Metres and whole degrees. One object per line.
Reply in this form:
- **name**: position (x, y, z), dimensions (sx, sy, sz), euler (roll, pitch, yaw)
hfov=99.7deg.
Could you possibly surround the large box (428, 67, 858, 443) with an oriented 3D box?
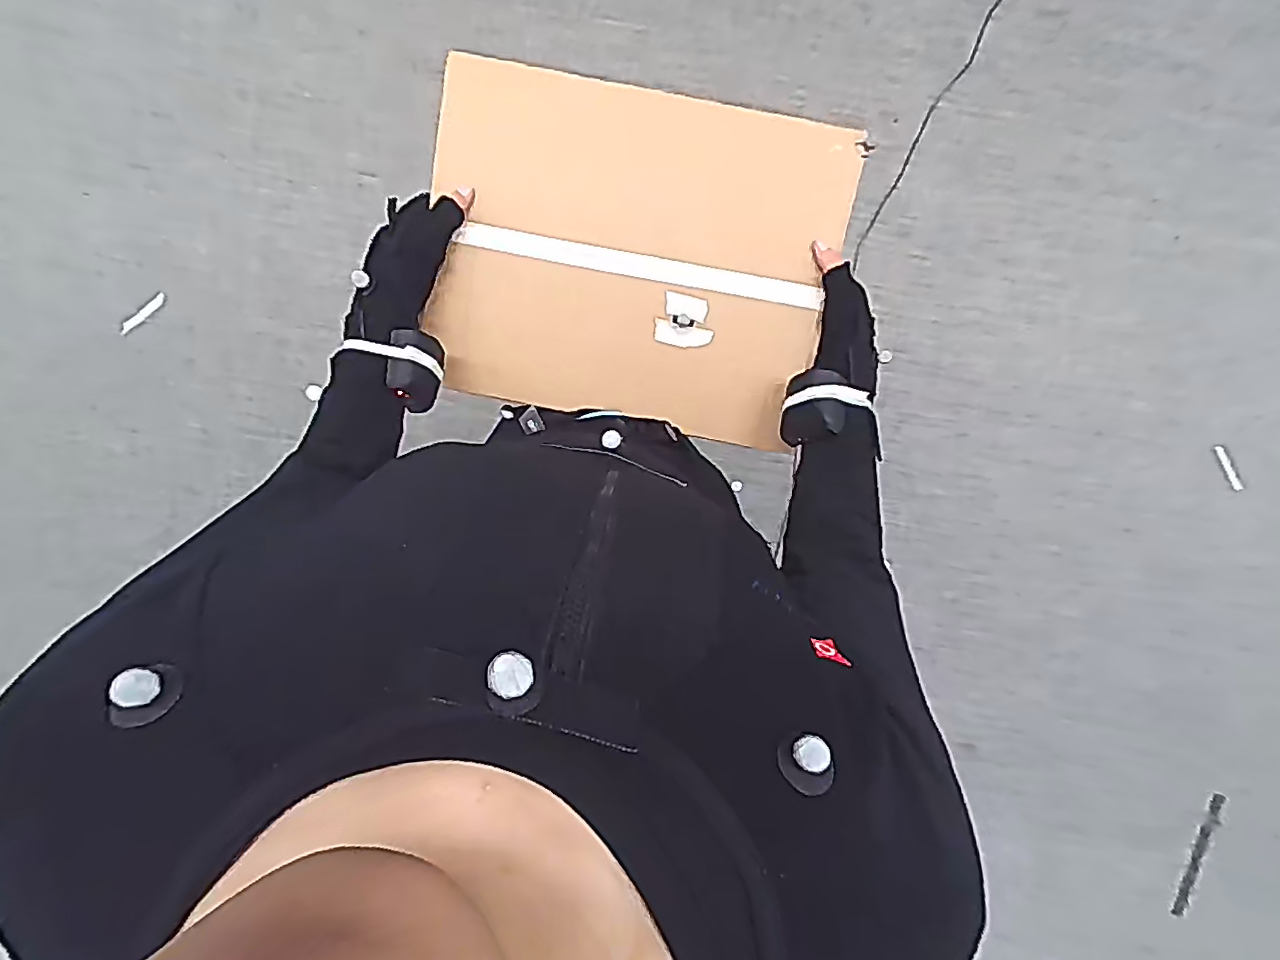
- **large box**: position (-0.006, -0.248, 0.697), dimensions (0.408, 0.320, 0.320), euler (11, 102, -1)
